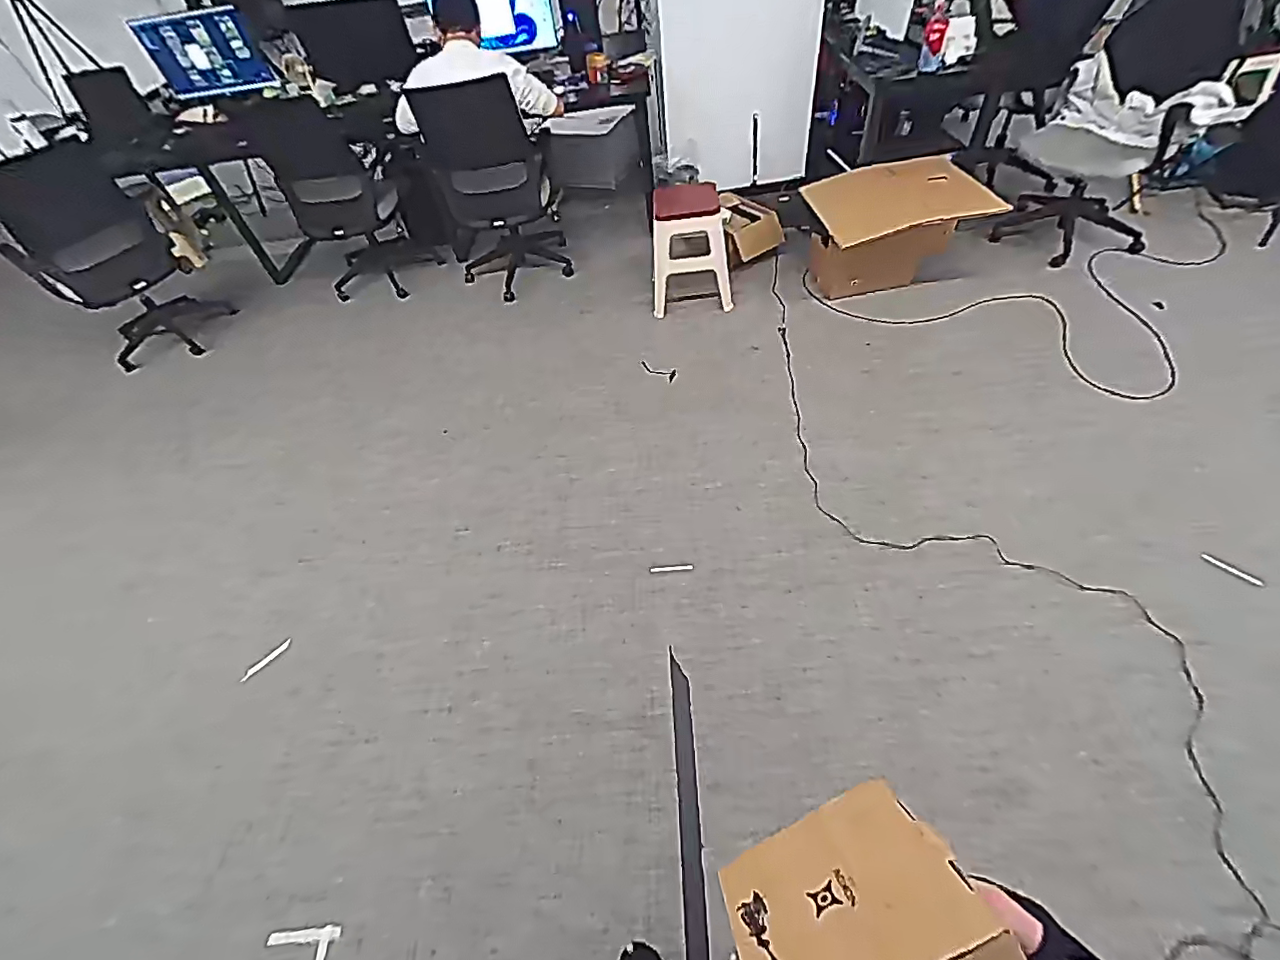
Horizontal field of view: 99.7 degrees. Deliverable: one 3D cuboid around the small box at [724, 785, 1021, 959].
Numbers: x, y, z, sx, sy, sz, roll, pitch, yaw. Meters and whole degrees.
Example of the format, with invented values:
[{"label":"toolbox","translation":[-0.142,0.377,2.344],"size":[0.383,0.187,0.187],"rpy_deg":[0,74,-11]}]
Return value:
[{"label":"small box","translation":[0.196,0.402,0.433],"size":[0.179,0.168,0.176],"rpy_deg":[-29,92,-2]}]
